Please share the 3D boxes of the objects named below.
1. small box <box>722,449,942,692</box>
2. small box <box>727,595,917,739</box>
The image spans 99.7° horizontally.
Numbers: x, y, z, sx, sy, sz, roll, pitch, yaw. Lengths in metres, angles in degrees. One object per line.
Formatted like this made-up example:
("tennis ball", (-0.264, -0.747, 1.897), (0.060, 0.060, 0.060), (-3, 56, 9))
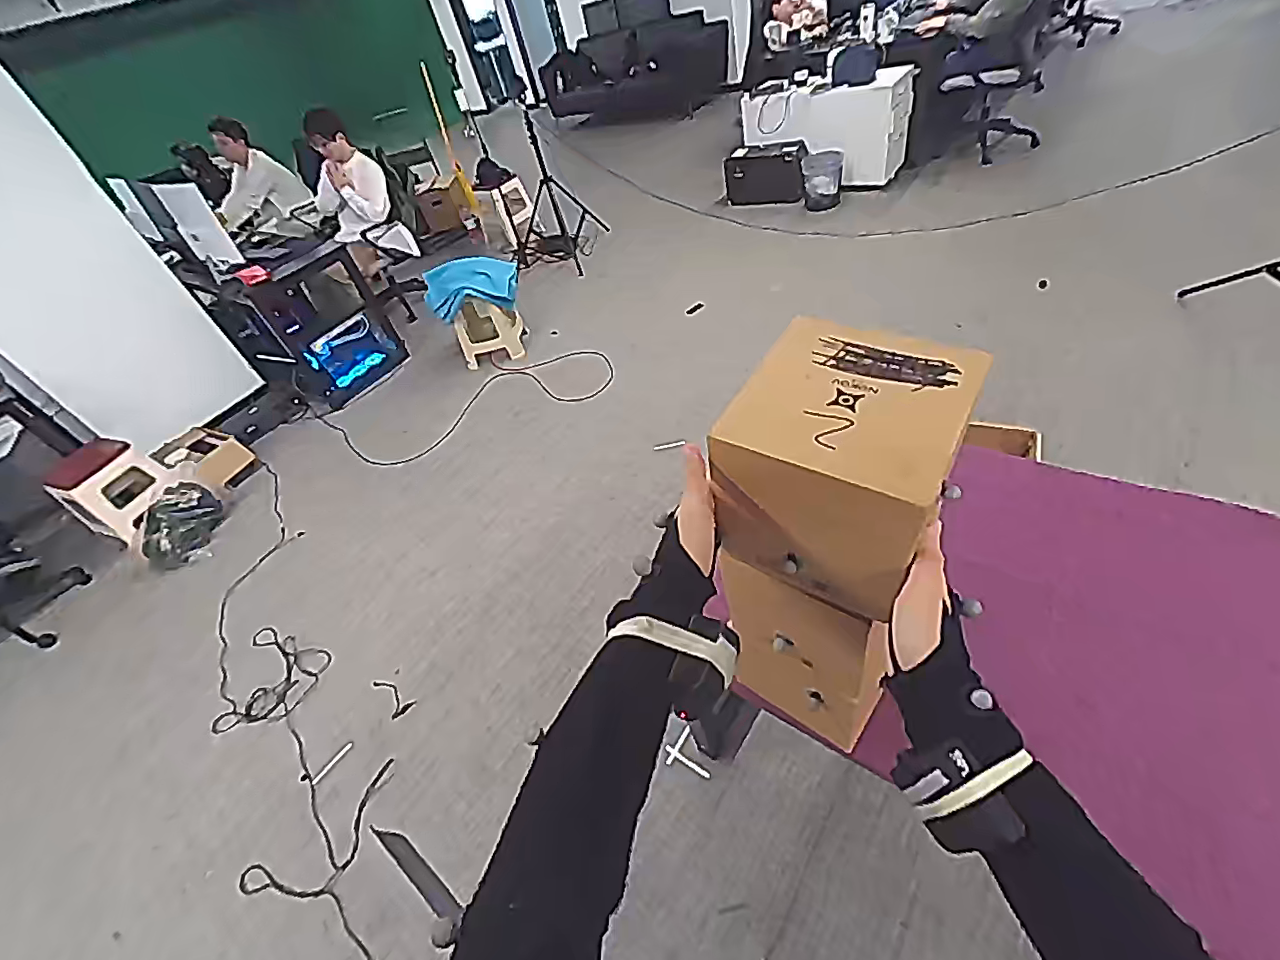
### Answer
("small box", (0.214, 0.101, 0.618), (0.168, 0.176, 0.179), (24, 59, 35))
("small box", (0.242, 0.218, 0.730), (0.179, 0.176, 0.168), (25, 58, 35))
